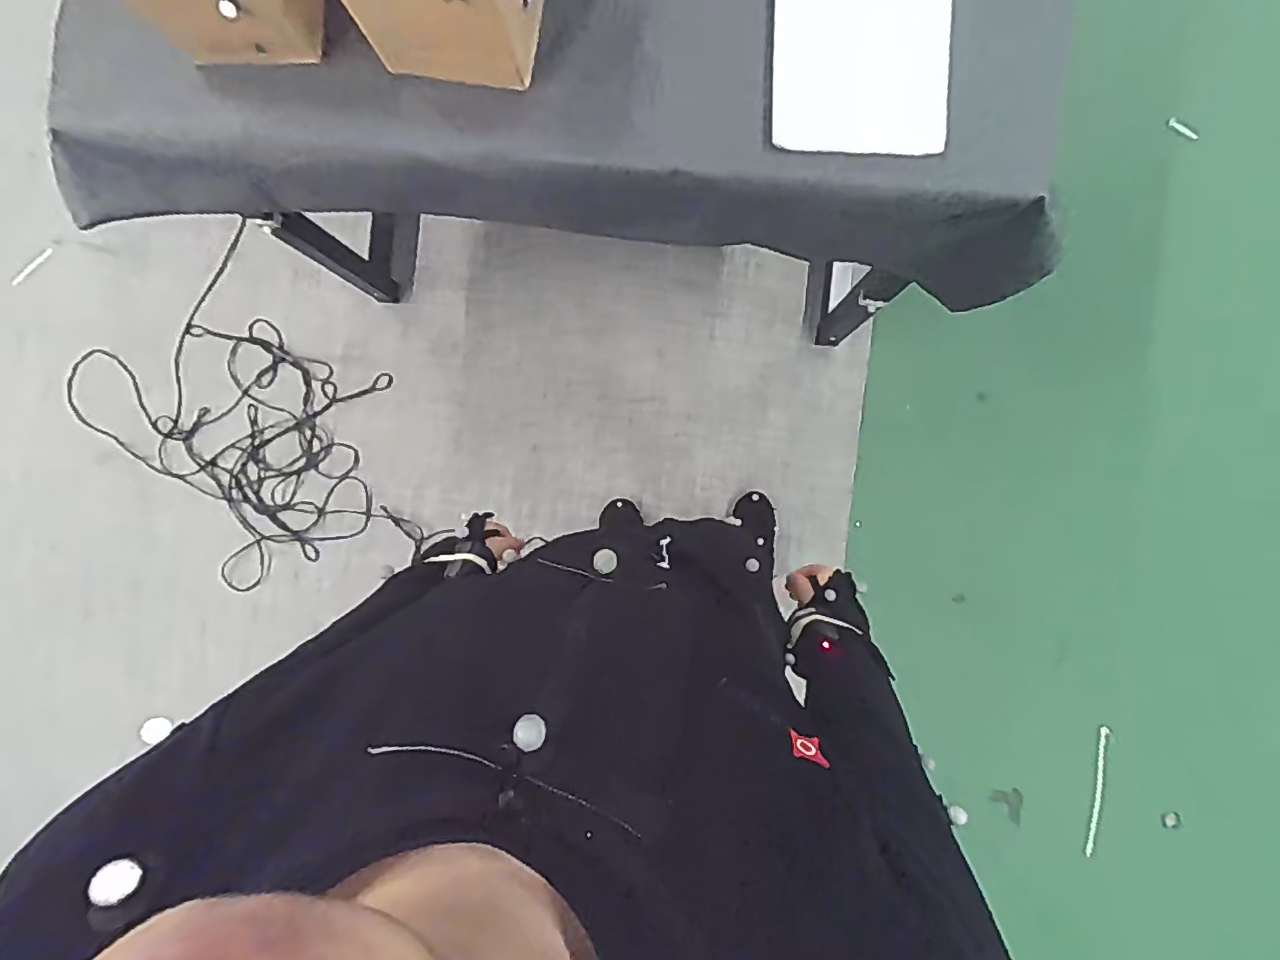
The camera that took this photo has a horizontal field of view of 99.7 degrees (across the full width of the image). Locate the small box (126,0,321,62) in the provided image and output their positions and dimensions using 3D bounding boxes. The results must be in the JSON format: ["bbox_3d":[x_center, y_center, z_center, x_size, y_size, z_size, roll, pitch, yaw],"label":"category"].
[{"bbox_3d":[-0.468,-0.591,0.579,0.168,0.176,0.179,1,88,1],"label":"small box"}]

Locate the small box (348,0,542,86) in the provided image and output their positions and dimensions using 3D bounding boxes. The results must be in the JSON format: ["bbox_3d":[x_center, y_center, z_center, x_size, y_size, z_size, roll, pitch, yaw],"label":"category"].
[{"bbox_3d":[-0.211,-0.557,0.567,0.179,0.176,0.168,10,89,2],"label":"small box"}]
